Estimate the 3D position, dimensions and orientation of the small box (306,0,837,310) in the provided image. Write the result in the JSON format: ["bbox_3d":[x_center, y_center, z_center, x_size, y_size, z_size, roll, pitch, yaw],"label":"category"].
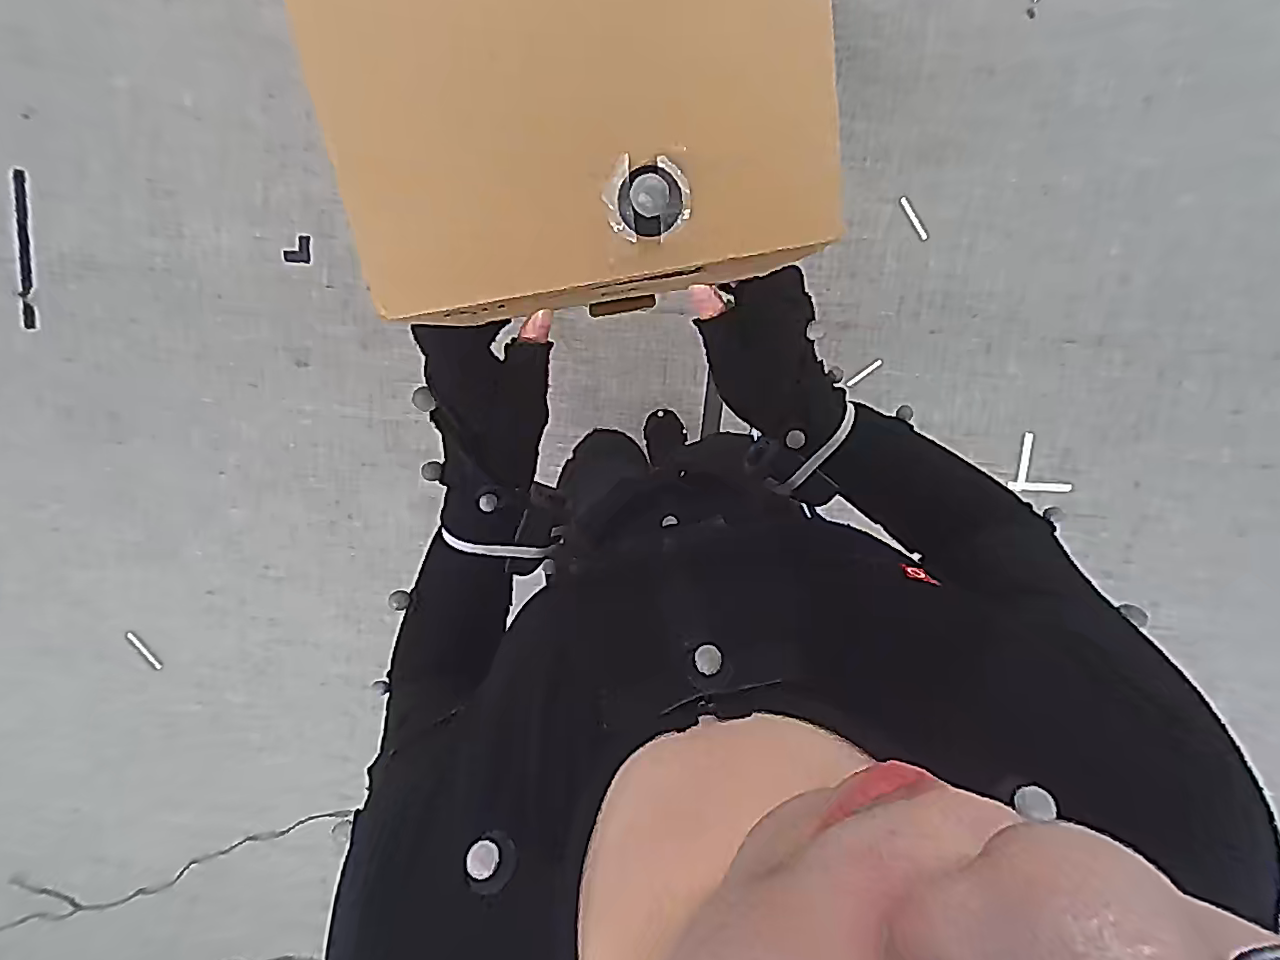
[{"bbox_3d":[-0.024,-0.178,0.245,0.168,0.179,0.176,-10,107,2],"label":"small box"}]
